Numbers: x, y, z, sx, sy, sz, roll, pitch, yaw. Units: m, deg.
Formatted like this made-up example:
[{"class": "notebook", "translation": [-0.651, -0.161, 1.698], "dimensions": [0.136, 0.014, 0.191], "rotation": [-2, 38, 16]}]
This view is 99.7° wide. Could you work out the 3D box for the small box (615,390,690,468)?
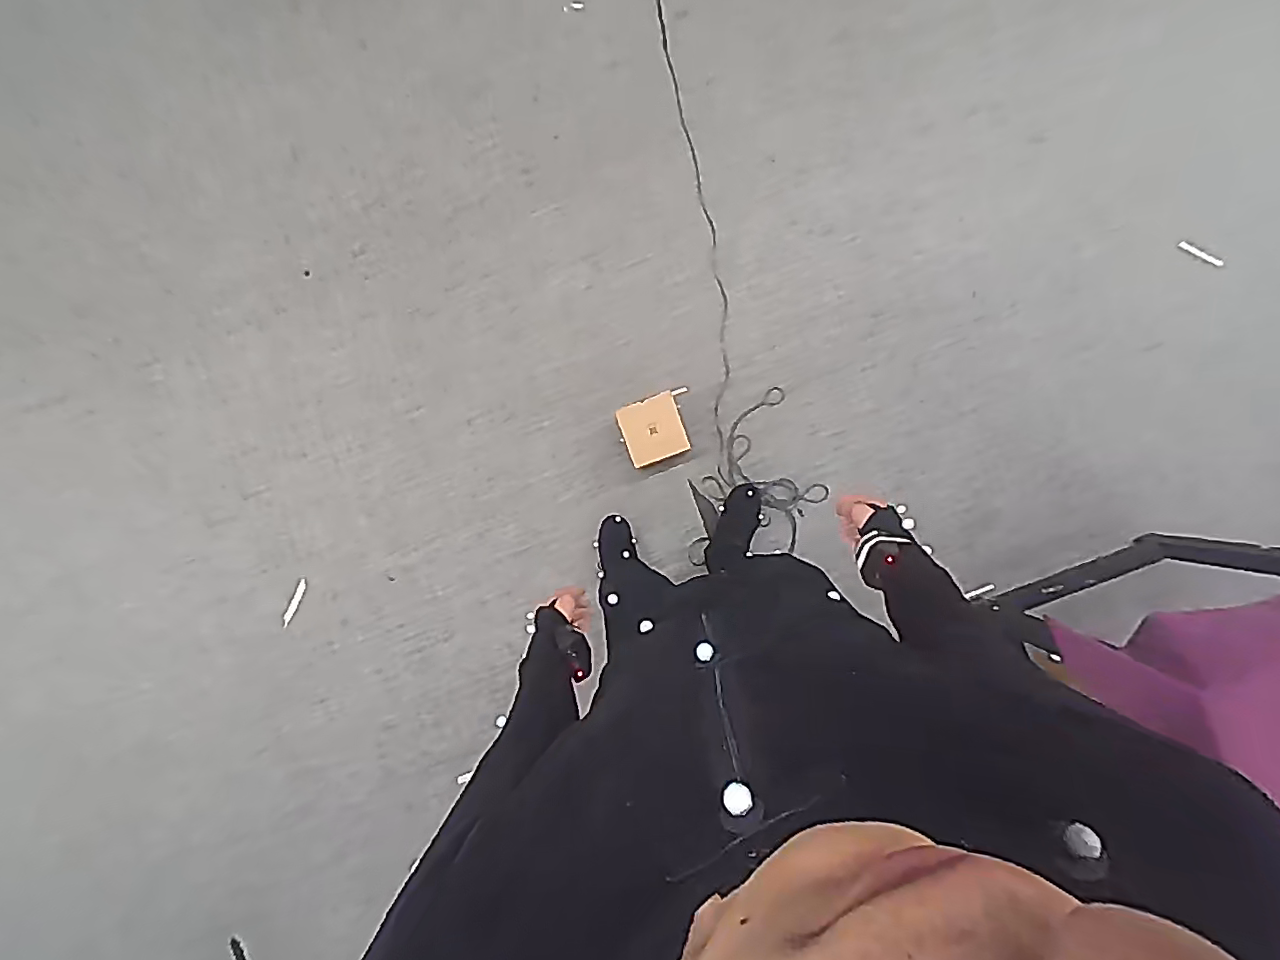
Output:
[{"class": "small box", "translation": [0.037, -0.140, 1.563], "dimensions": [0.168, 0.176, 0.179], "rotation": [-20, 89, 3]}]
